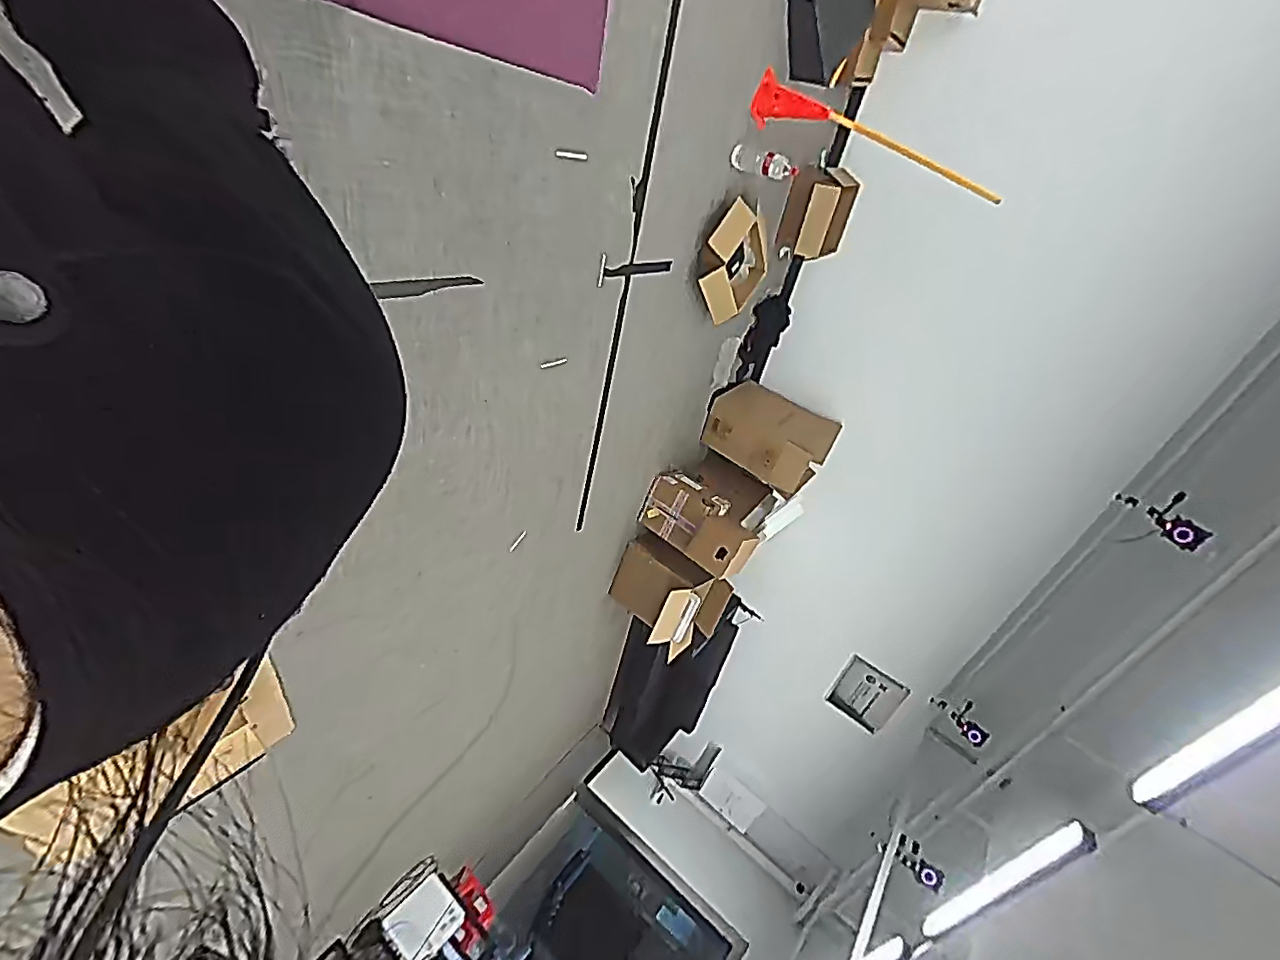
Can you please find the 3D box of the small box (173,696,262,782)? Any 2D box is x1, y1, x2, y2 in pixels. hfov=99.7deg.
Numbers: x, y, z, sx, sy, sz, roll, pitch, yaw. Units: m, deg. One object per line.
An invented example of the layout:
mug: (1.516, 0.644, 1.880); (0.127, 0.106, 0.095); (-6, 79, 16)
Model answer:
small box: (-1.423, 0.863, 1.820); (0.168, 0.176, 0.179); (-33, 146, -43)
